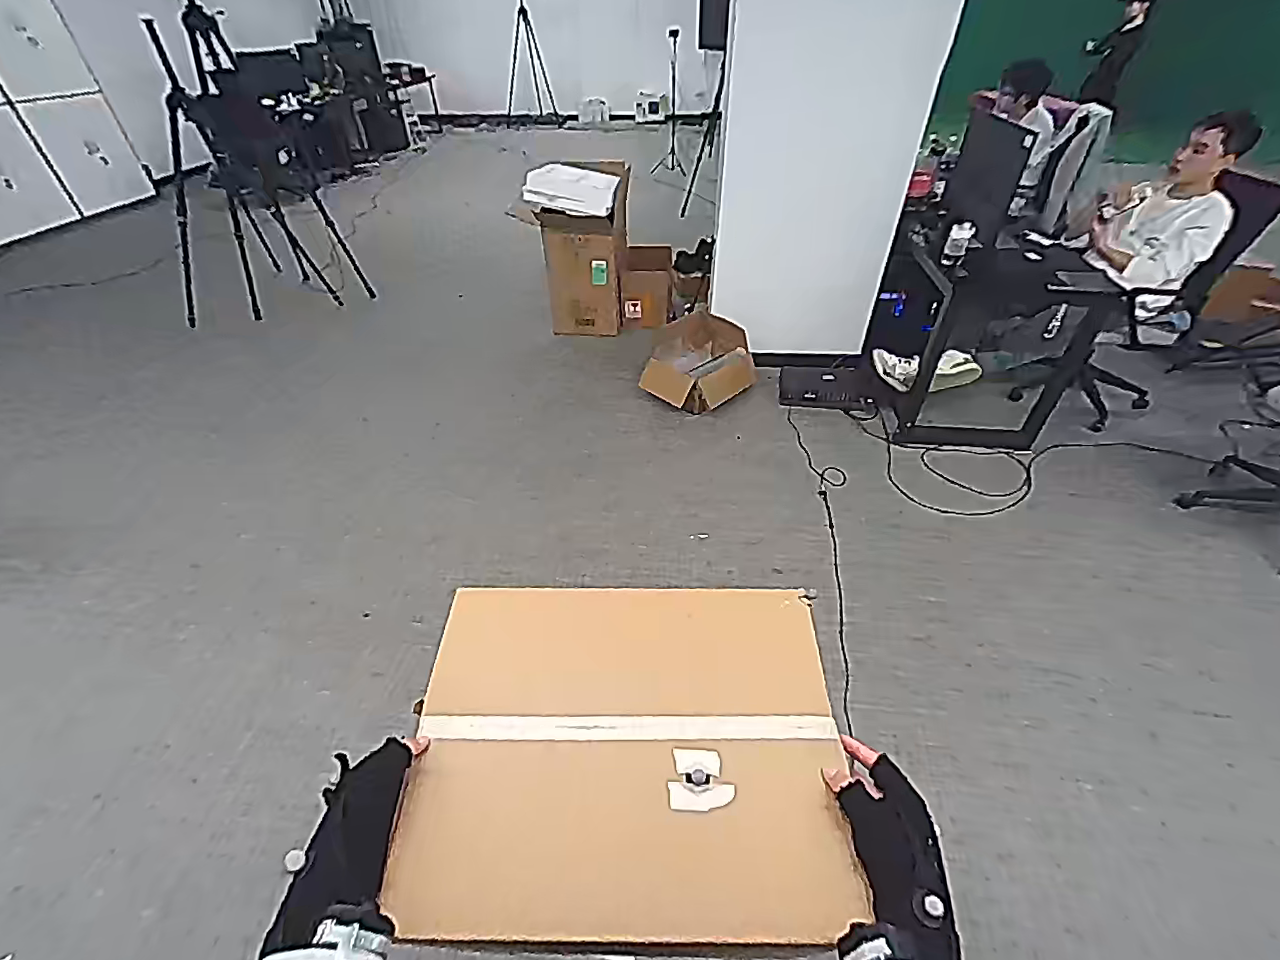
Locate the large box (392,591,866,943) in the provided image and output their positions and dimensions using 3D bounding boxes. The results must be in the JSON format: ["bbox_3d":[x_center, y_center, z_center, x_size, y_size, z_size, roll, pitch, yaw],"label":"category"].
[{"bbox_3d":[-0.011,0.348,0.654,0.408,0.320,0.320,0,48,0],"label":"large box"}]
